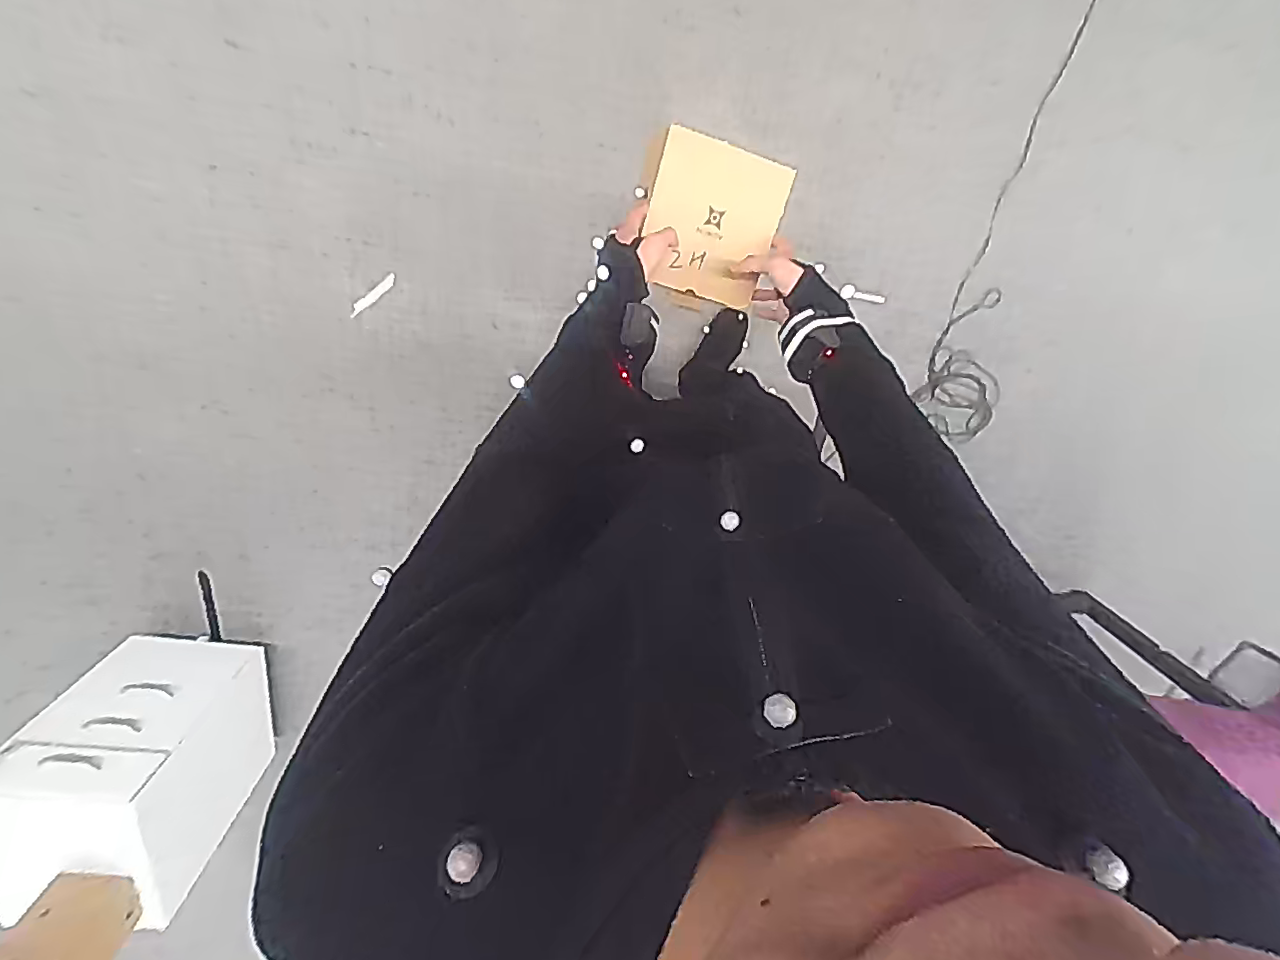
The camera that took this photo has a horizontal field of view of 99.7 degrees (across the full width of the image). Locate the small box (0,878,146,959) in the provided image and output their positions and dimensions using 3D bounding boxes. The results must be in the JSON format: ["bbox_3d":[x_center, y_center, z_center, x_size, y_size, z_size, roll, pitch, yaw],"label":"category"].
[{"bbox_3d":[-1.379,1.116,1.328,0.179,0.176,0.168,9,113,-8],"label":"small box"}]

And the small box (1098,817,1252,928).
[{"bbox_3d":[1.311,0.968,1.341,0.179,0.176,0.168,6,113,-7],"label":"small box"}]

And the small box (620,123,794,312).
[{"bbox_3d":[0.076,-0.350,0.739,0.168,0.176,0.179,12,114,-14],"label":"small box"}]
